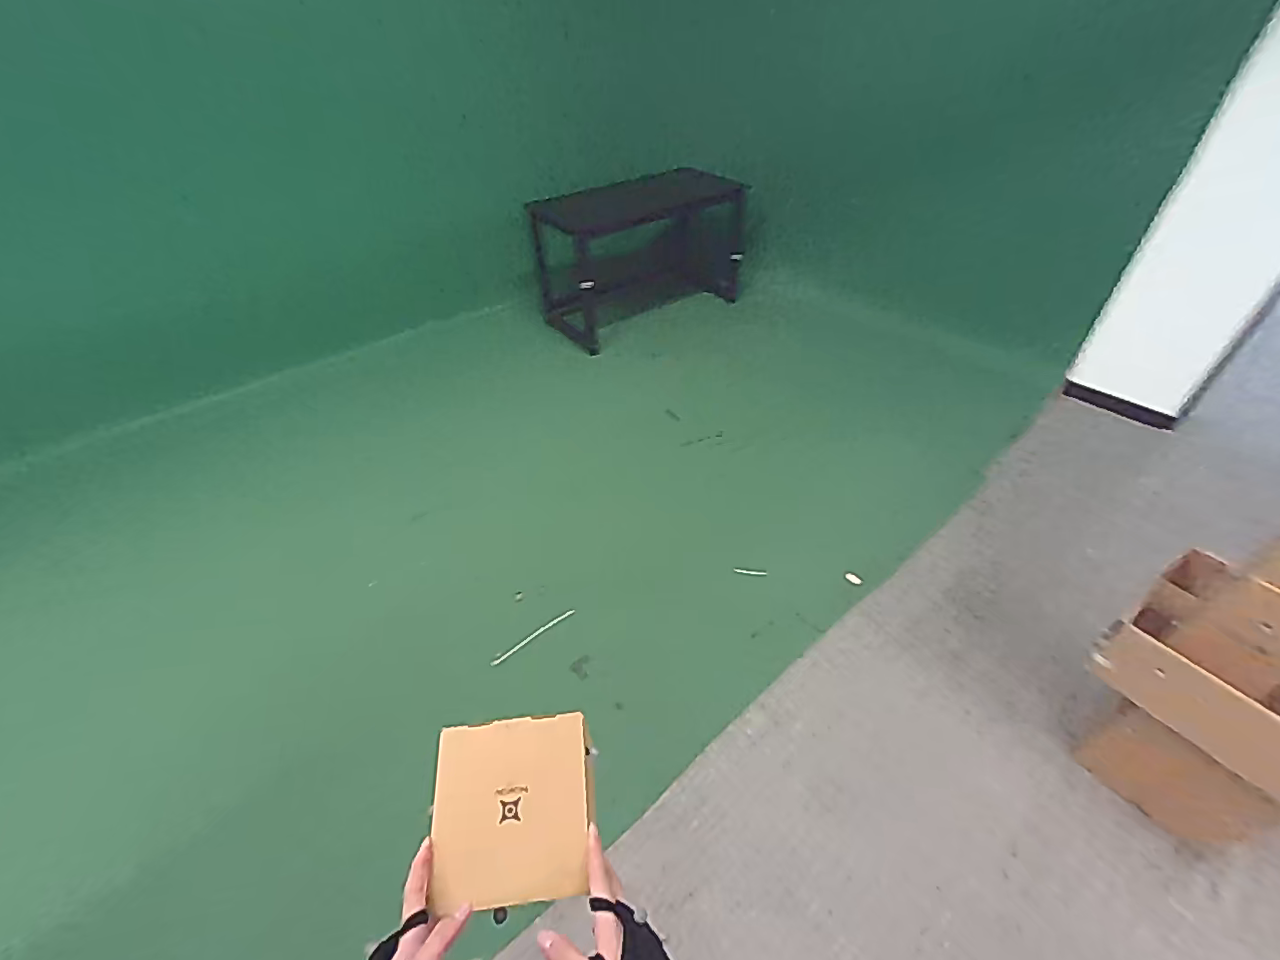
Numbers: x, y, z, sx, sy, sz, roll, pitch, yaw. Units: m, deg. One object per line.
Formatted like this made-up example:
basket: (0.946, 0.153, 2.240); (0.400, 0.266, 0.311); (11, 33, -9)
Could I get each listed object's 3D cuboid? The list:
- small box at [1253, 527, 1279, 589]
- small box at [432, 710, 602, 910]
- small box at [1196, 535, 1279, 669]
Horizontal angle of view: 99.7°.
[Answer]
small box: (1.315, 0.131, 1.002); (0.179, 0.176, 0.168); (-29, 49, -26)
small box: (-0.135, 0.394, 0.653); (0.168, 0.176, 0.179); (-4, 54, -4)
small box: (1.313, 0.254, 1.110); (0.179, 0.176, 0.168); (-29, 49, -24)
